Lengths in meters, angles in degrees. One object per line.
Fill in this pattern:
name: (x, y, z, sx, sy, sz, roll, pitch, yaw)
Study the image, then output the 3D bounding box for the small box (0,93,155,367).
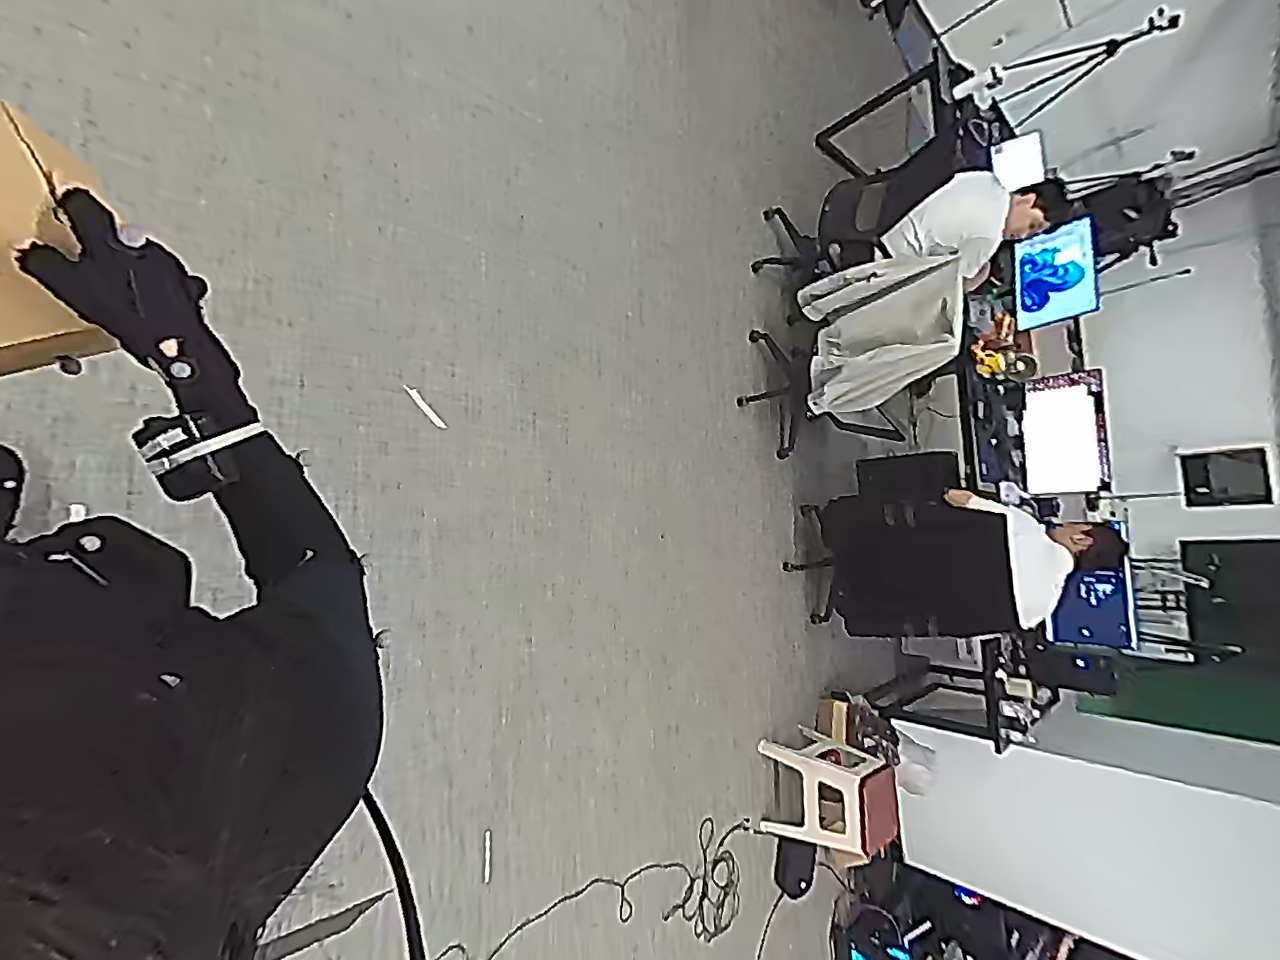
small box: (-0.546, -0.188, 0.443, 0.179, 0.176, 0.168, -24, 111, -25)
